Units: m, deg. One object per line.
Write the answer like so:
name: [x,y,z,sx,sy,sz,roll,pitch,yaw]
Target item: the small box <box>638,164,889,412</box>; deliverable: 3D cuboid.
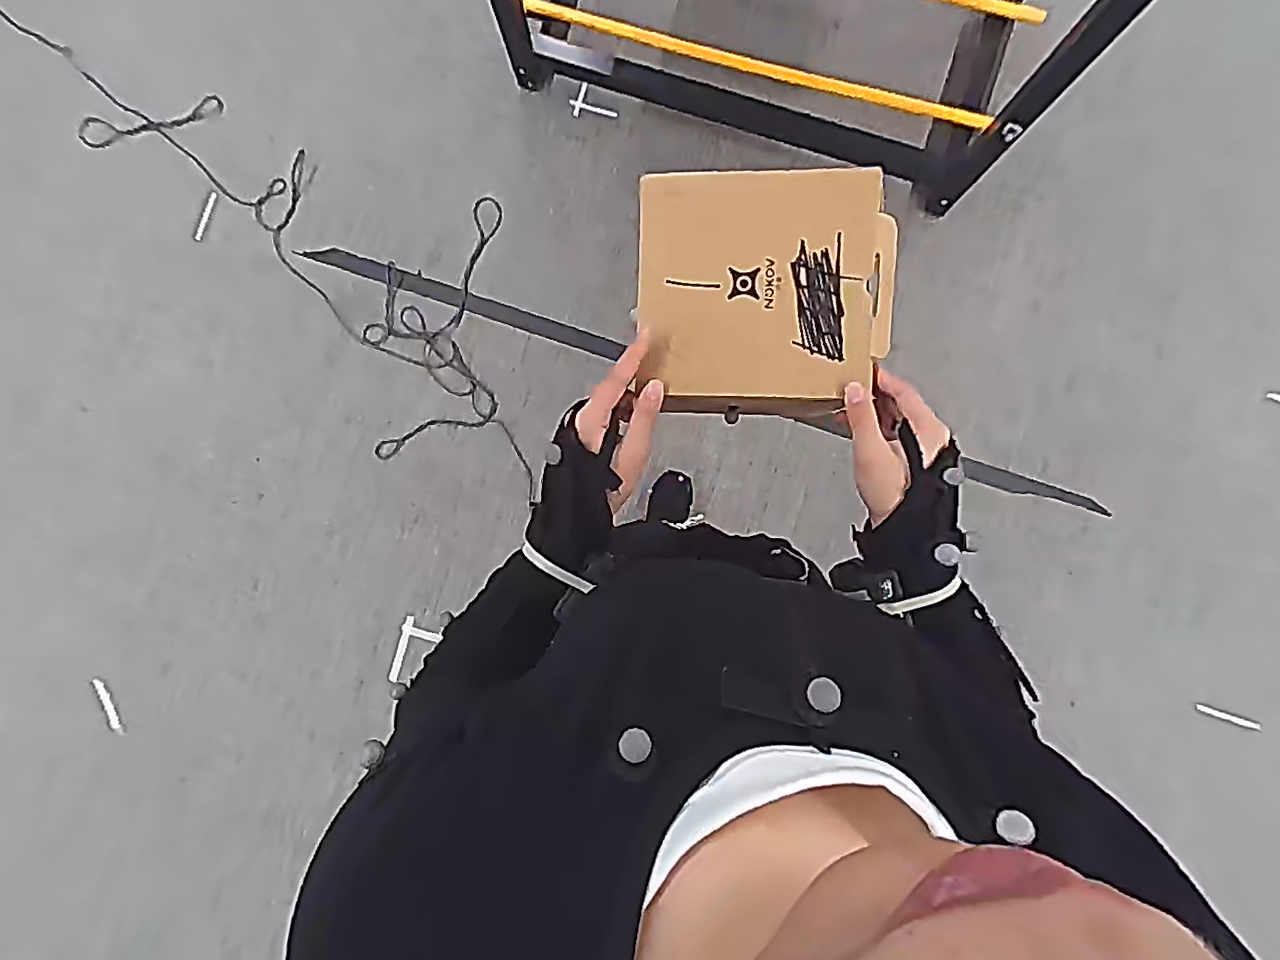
small box: [0.094,-0.149,0.473,0.179,0.176,0.168,2,93,5]
